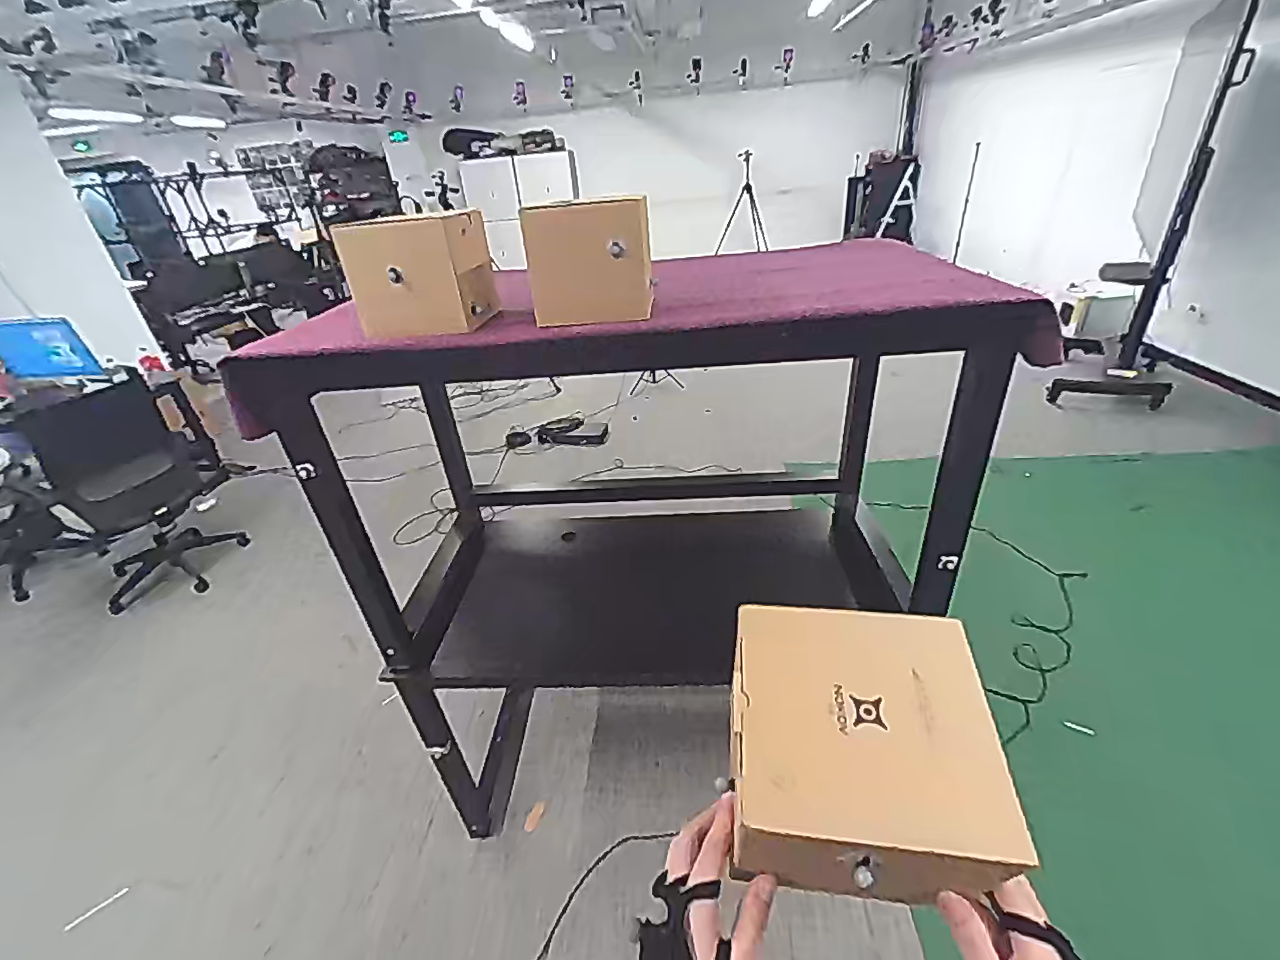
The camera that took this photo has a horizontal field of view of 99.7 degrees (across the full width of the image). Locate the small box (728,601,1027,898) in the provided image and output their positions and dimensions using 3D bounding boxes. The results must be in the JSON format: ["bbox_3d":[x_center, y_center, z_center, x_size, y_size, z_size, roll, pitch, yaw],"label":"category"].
[{"bbox_3d":[0.162,0.219,0.441,0.179,0.176,0.168,2,46,9],"label":"small box"}]

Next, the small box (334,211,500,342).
[{"bbox_3d":[-0.345,-0.332,0.881,0.179,0.176,0.168,-2,30,7],"label":"small box"}]
